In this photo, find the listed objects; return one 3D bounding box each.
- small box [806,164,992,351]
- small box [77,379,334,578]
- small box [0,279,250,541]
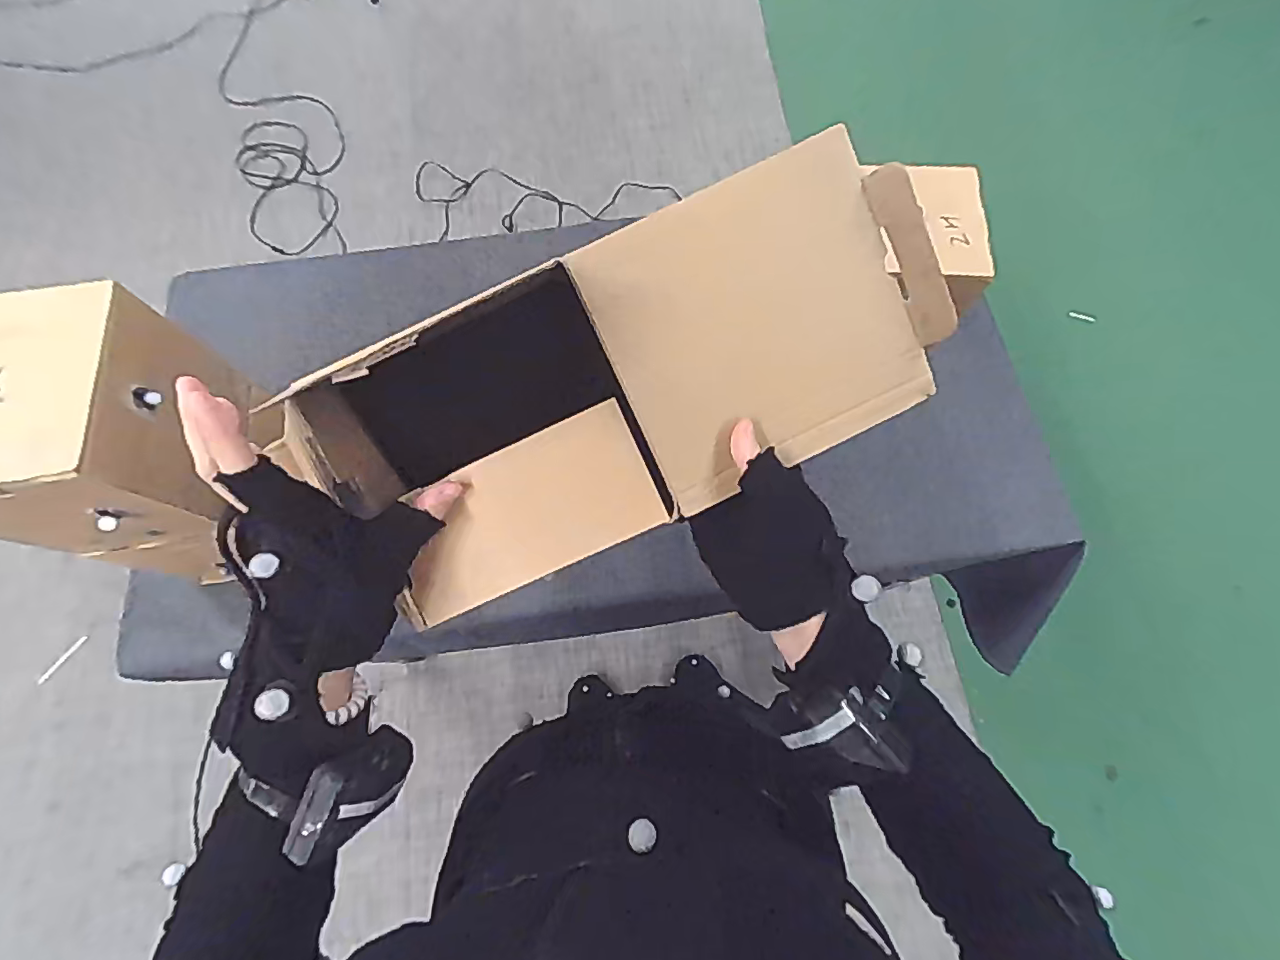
[{"bbox_3d":[0.326,-0.288,0.723,0.179,0.176,0.168,4,72,3],"label":"small box"},{"bbox_3d":[-0.491,0.006,0.643,0.168,0.176,0.179,-10,71,-2],"label":"small box"},{"bbox_3d":[-0.494,-0.048,0.489,0.168,0.176,0.179,-8,71,-3],"label":"small box"}]
